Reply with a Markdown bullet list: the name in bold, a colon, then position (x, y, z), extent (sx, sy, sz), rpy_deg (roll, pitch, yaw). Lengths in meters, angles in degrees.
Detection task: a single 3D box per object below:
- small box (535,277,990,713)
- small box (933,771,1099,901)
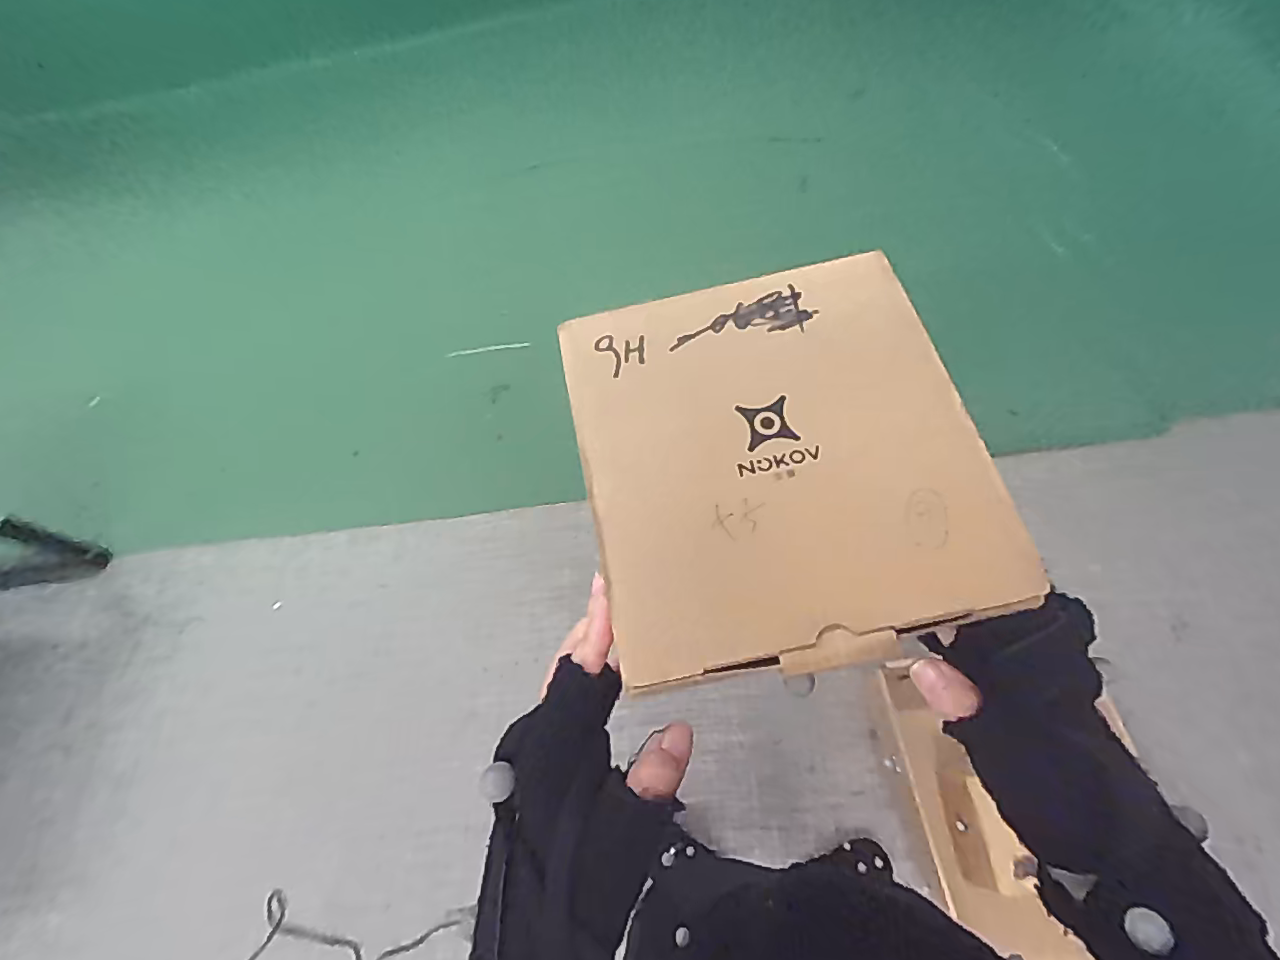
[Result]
- **small box**: position (0.050, 0.022, 0.315), extent (0.168, 0.176, 0.179), rpy_deg (-13, 69, 0)
- **small box**: position (0.675, 0.645, 0.997), extent (0.168, 0.176, 0.179), rpy_deg (-9, 62, 4)
